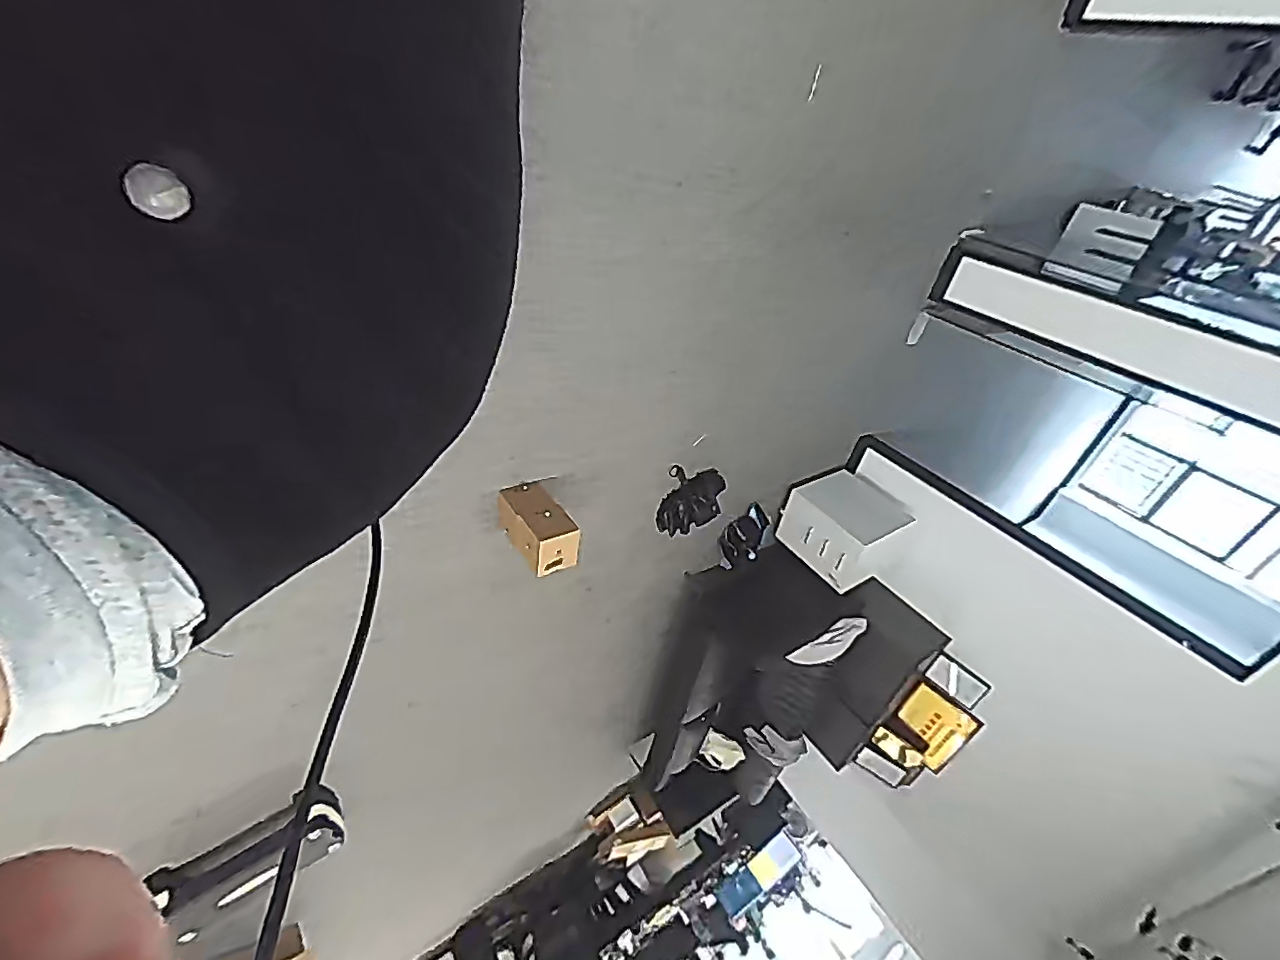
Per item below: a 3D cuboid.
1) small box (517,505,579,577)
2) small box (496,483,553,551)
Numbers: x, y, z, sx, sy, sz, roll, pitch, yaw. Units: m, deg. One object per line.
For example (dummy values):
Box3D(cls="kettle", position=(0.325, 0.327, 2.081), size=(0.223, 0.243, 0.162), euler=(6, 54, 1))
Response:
Box3D(cls="small box", position=(-0.346, 0.223, 2.001), size=(0.168, 0.176, 0.179), euler=(-17, 133, -34))
Box3D(cls="small box", position=(-0.448, 0.139, 2.098), size=(0.168, 0.176, 0.179), euler=(-18, 133, -33))
